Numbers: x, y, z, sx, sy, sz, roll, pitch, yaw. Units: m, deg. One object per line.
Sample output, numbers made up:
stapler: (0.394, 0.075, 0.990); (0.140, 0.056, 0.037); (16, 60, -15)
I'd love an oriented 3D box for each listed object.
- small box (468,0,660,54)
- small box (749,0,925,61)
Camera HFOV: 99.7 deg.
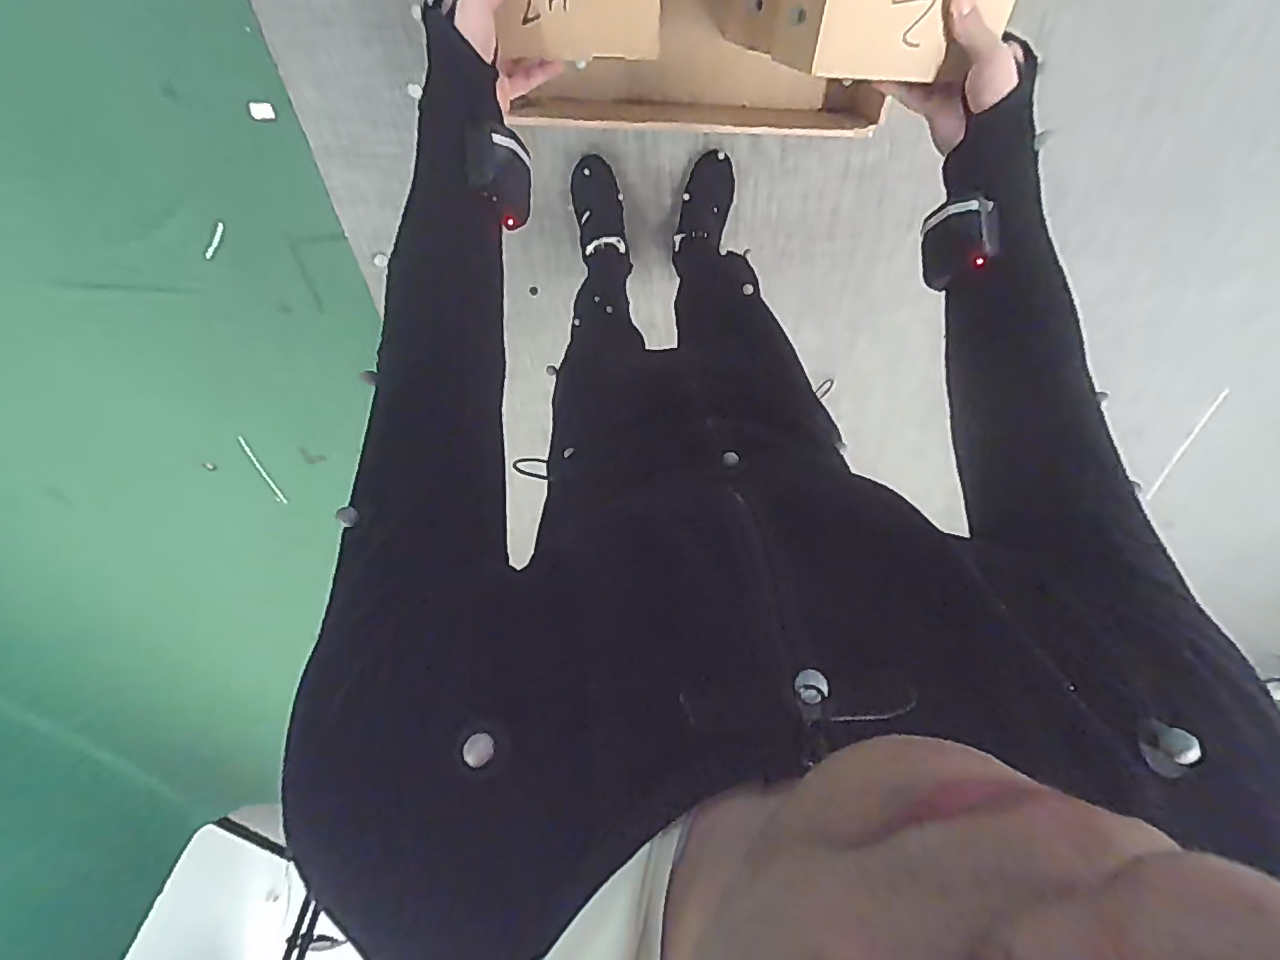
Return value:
small box: (-0.064, -0.501, 0.489); (0.168, 0.176, 0.179); (1, 132, 2)
small box: (0.227, -0.597, 0.615); (0.168, 0.176, 0.179); (2, 130, -2)
